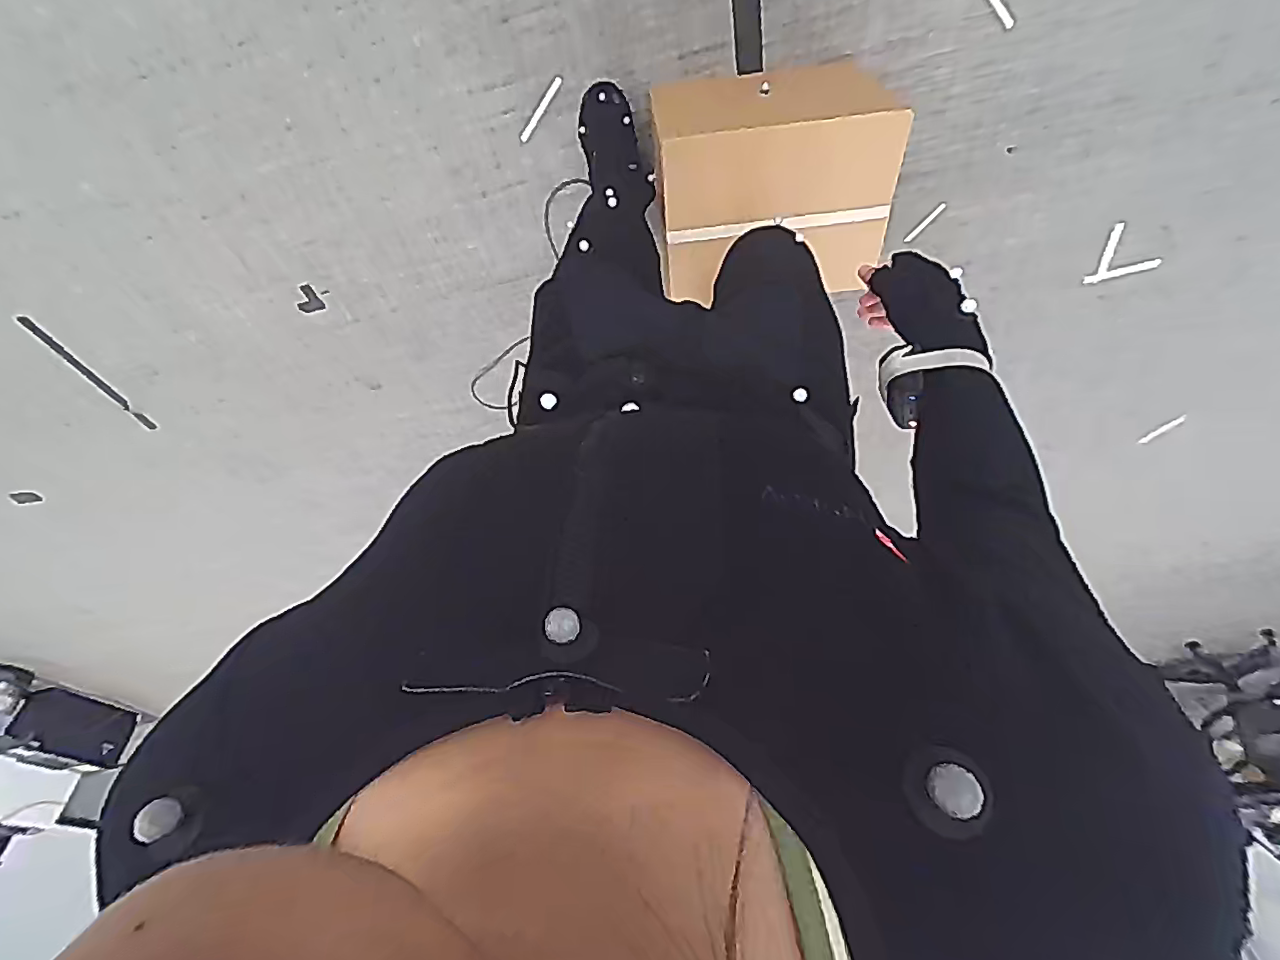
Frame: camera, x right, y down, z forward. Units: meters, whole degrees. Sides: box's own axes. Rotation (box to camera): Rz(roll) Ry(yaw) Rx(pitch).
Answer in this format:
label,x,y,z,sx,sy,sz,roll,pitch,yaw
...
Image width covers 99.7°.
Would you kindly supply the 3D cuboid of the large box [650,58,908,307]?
label,x,y,z,sx,sy,sz,roll,pitch,yaw
large box,0.239,-0.585,1.071,0.408,0.320,0.320,-6,139,2
